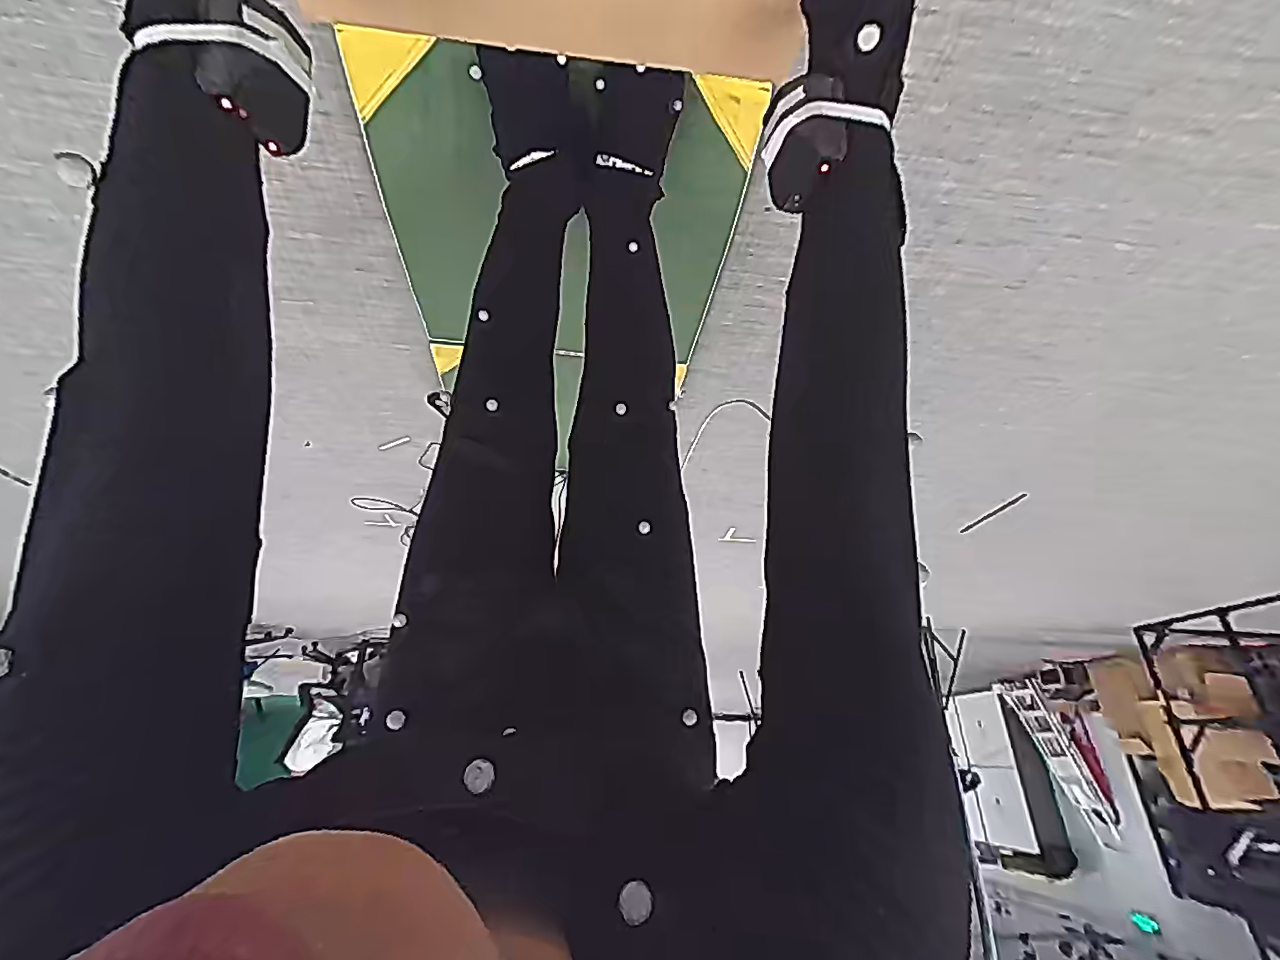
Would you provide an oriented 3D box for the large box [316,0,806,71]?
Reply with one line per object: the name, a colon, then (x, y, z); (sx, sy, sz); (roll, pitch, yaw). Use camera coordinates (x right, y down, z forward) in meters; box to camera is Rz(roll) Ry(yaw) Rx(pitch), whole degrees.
large box: (-0.055, -0.575, 0.404); (0.408, 0.320, 0.320); (2, 153, -6)
